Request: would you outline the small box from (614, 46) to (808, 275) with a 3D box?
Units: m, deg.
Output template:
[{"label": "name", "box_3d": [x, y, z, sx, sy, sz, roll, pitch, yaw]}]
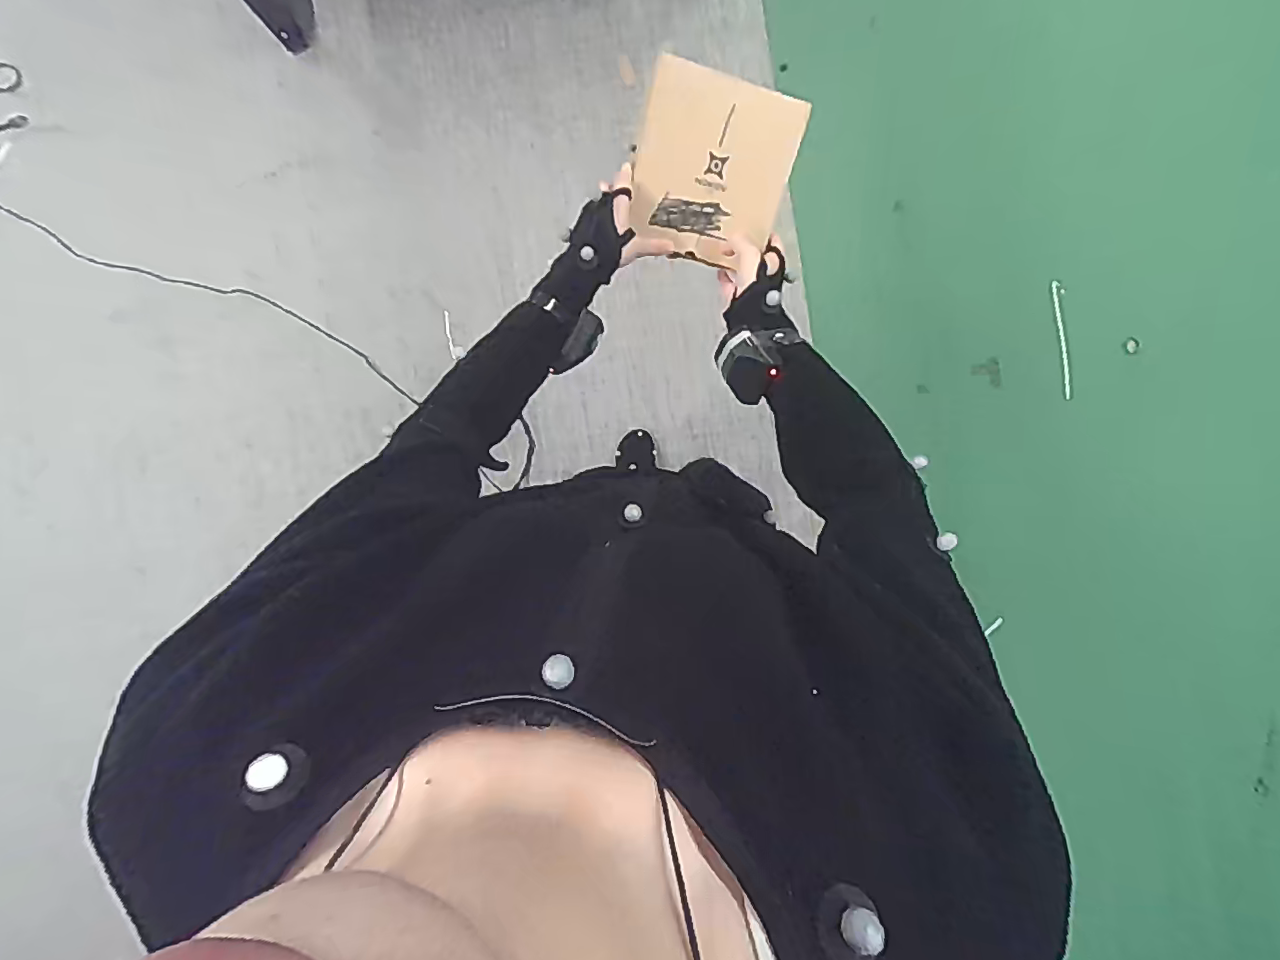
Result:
[{"label": "small box", "box_3d": [0.067, -0.361, 0.641, 0.168, 0.176, 0.179, 12, 114, -11]}]
